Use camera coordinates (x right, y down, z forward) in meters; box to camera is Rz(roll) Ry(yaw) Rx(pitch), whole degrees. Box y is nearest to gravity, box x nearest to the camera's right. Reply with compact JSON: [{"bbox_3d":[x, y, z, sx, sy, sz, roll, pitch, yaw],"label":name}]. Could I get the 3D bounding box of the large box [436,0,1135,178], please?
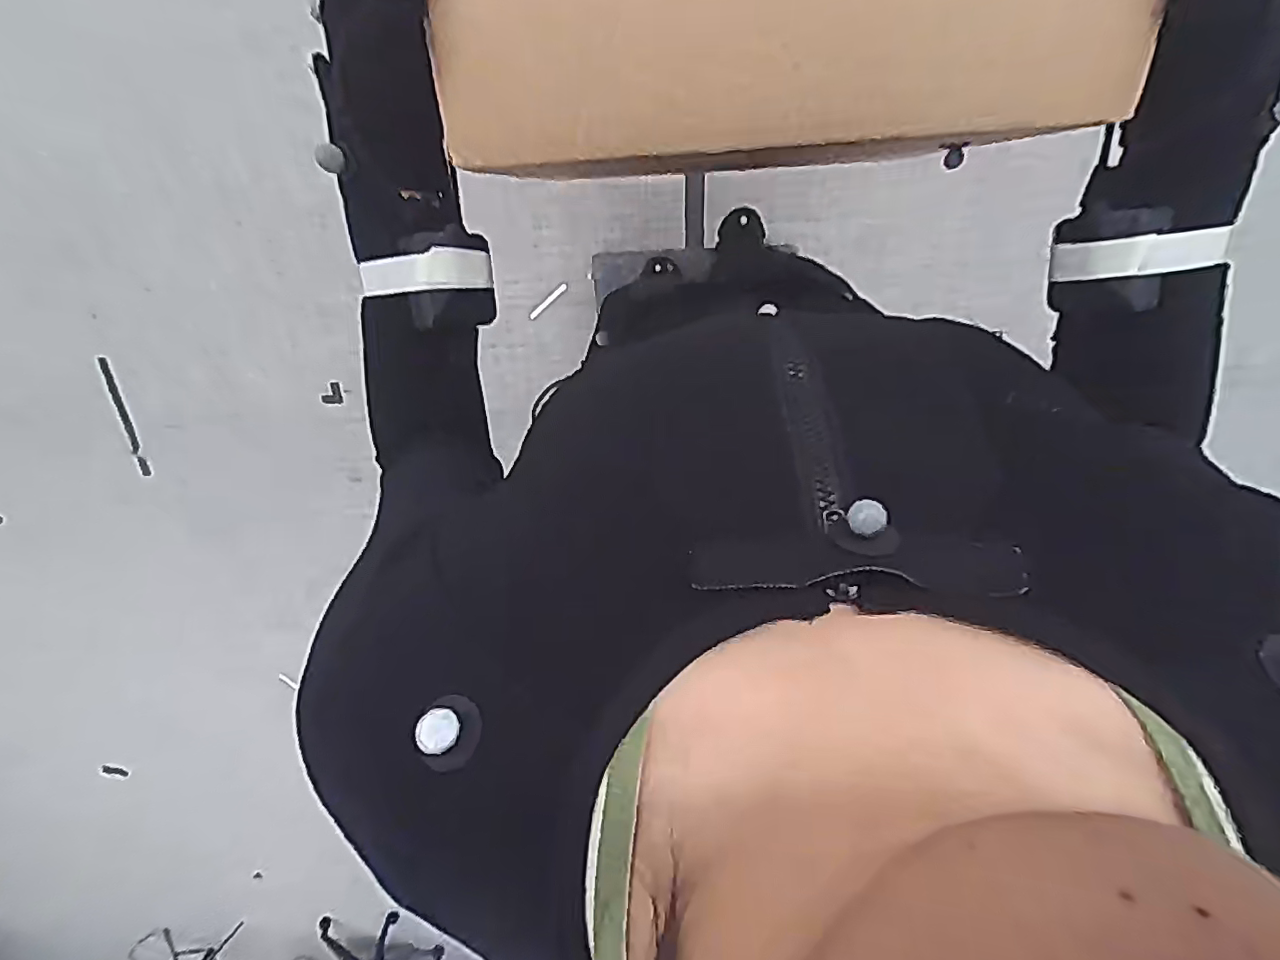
[{"bbox_3d":[0.081,-0.416,0.401,0.408,0.320,0.320,-2,117,4],"label":"large box"}]
